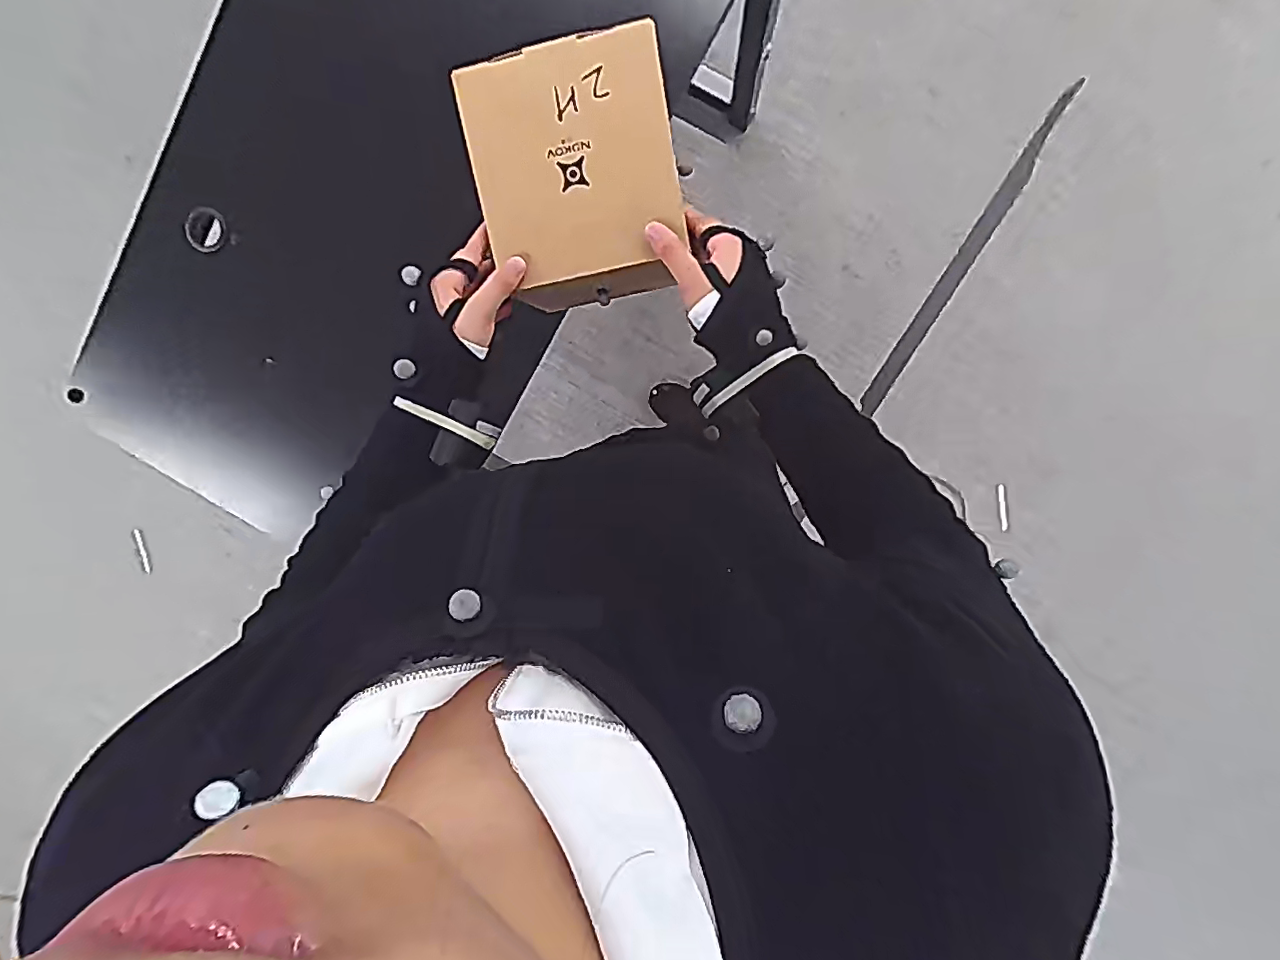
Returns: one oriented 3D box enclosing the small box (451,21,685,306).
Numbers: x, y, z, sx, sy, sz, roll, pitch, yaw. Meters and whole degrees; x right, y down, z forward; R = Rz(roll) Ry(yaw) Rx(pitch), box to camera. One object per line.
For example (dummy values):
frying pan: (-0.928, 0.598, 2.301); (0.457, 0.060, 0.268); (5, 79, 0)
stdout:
small box: (-0.050, -0.272, 0.516); (0.168, 0.176, 0.179); (-10, 100, 7)
